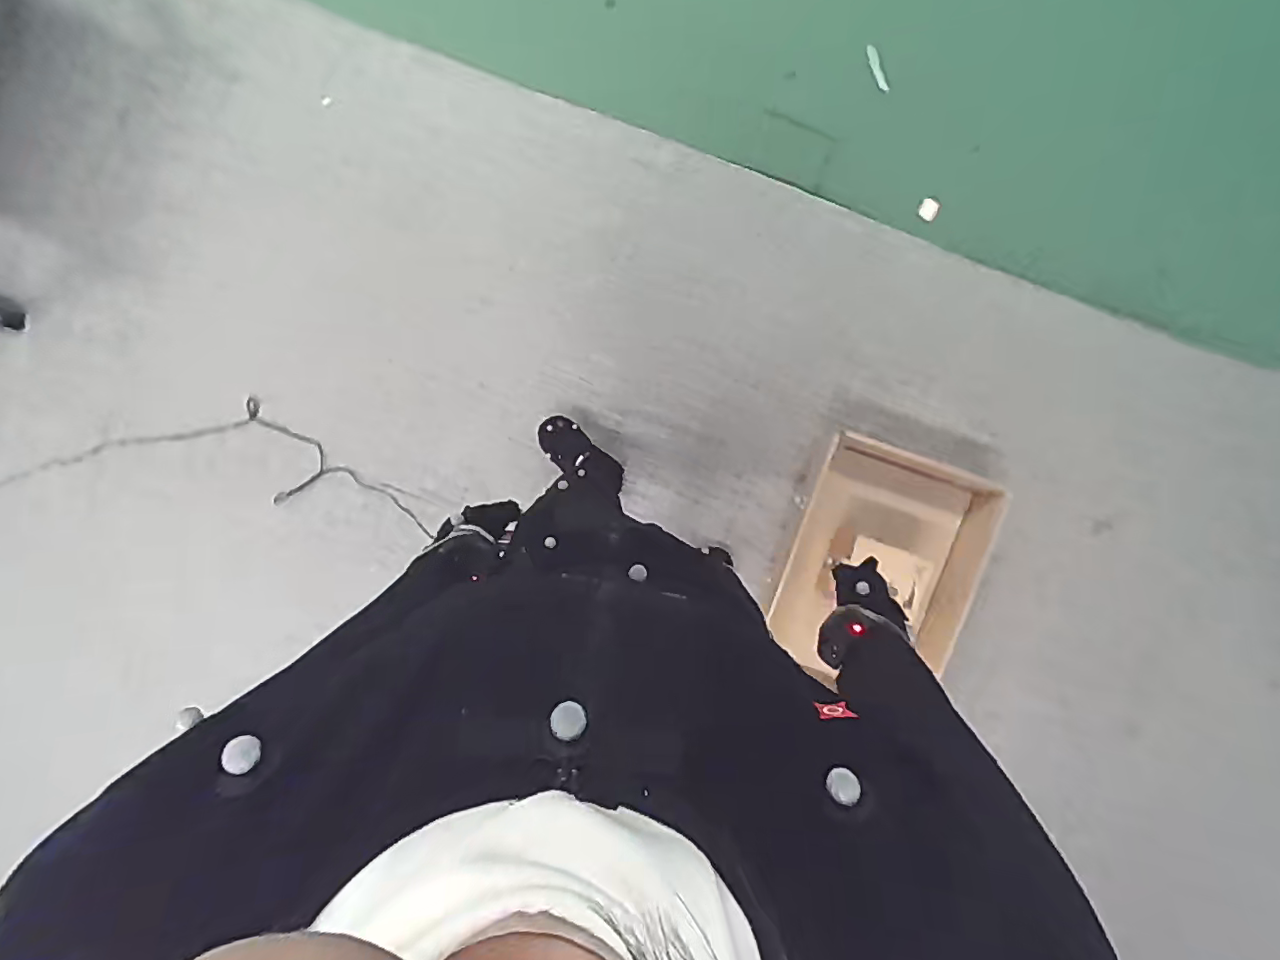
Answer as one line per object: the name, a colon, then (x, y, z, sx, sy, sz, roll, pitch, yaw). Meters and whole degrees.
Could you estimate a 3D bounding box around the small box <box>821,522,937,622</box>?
small box: (0.545, 0.205, 1.263, 0.179, 0.176, 0.168, 22, 94, 5)
